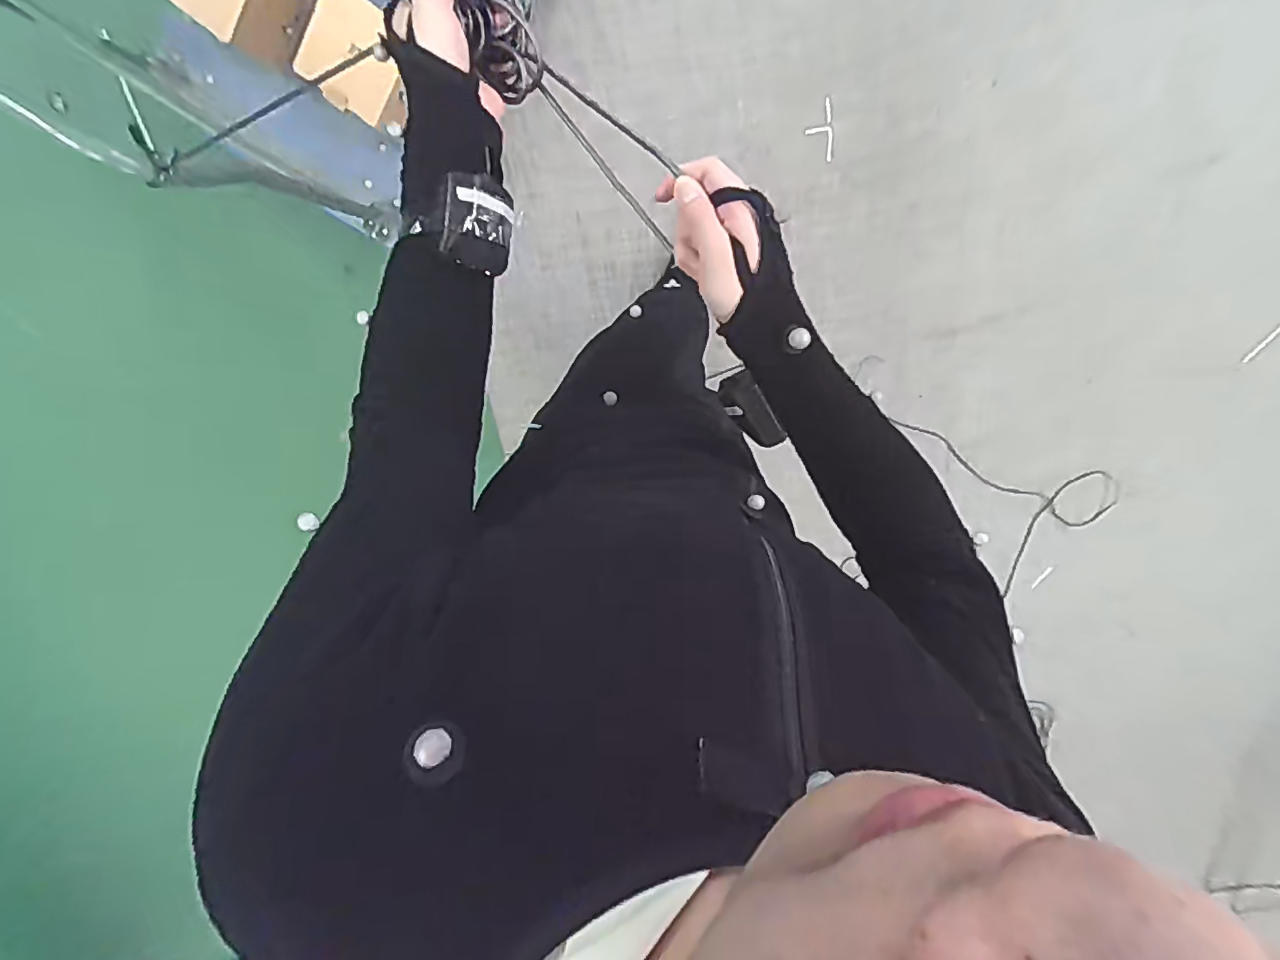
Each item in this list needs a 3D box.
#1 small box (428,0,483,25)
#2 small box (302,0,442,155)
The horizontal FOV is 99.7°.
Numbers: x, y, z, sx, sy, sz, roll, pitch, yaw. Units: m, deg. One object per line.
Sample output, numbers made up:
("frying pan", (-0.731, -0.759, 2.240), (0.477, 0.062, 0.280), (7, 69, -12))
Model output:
("small box", (-0.368, -0.995, 0.983), (0.168, 0.176, 0.179), (28, 110, -10))
("small box", (-0.515, -0.785, 1.067), (0.168, 0.176, 0.179), (32, 108, -12))
